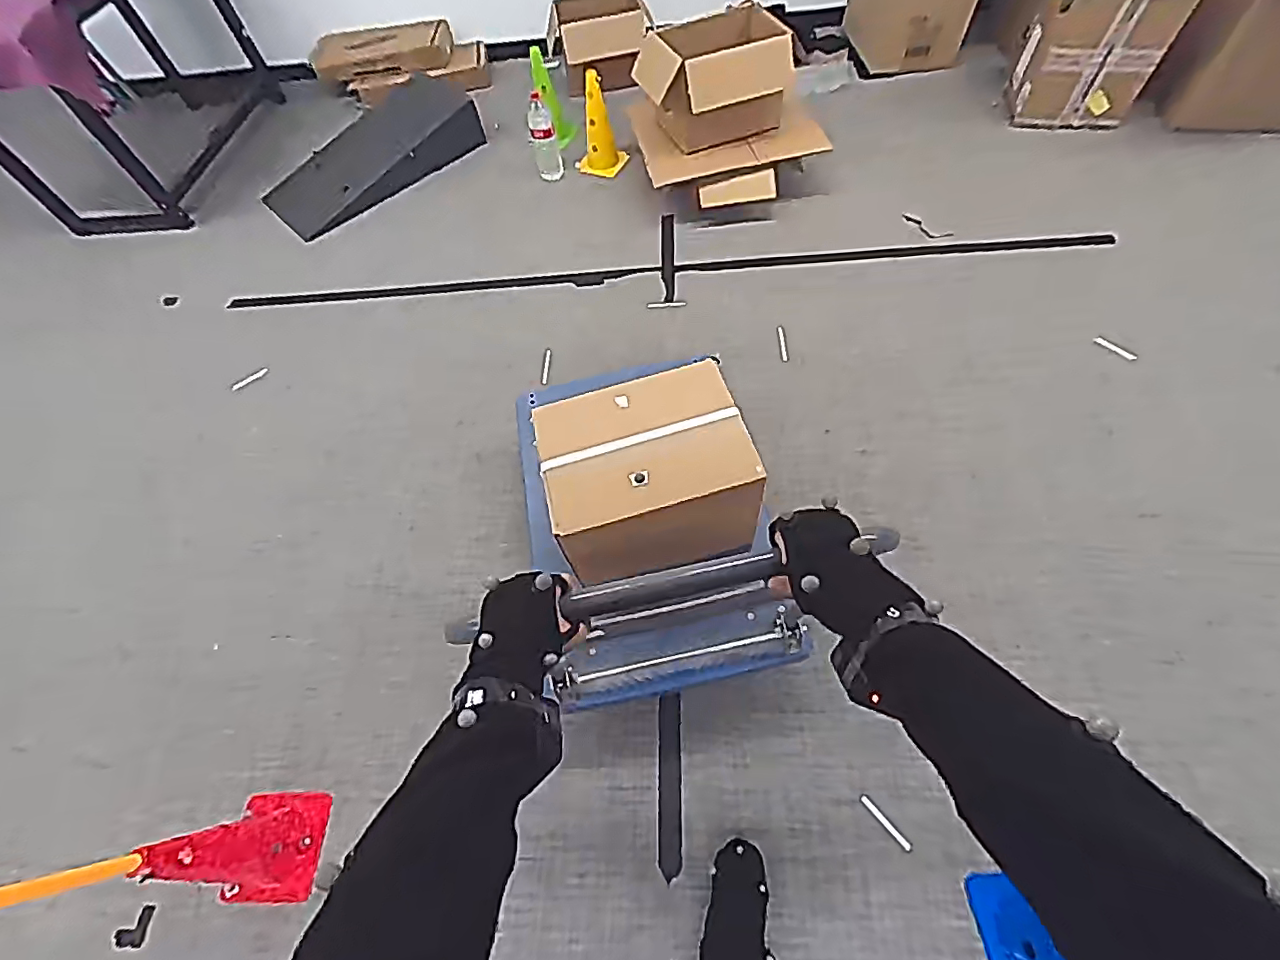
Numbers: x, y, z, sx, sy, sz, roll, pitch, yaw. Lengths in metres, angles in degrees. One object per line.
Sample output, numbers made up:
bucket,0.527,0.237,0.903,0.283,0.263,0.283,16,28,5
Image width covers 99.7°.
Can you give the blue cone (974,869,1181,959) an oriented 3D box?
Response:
blue cone,0.731,0.760,0.866,0.193,0.380,0.192,-5,58,2
